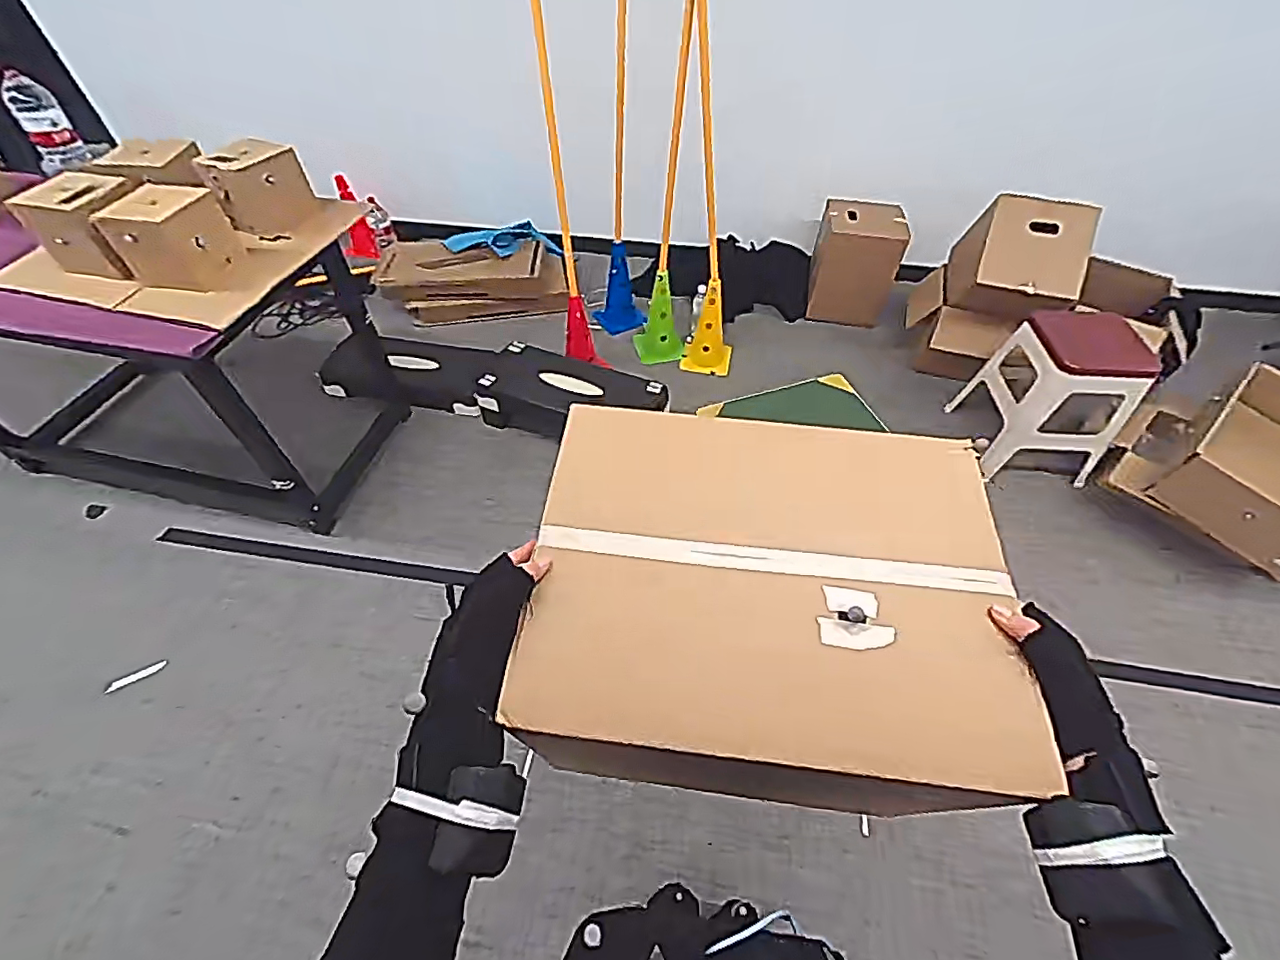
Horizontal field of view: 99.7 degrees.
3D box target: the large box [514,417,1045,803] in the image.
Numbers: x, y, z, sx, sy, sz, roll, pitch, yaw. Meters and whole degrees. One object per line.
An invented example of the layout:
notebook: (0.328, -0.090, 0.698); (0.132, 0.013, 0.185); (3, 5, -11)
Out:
large box: (0.111, 0.156, 0.605); (0.408, 0.320, 0.320); (6, 58, 3)
